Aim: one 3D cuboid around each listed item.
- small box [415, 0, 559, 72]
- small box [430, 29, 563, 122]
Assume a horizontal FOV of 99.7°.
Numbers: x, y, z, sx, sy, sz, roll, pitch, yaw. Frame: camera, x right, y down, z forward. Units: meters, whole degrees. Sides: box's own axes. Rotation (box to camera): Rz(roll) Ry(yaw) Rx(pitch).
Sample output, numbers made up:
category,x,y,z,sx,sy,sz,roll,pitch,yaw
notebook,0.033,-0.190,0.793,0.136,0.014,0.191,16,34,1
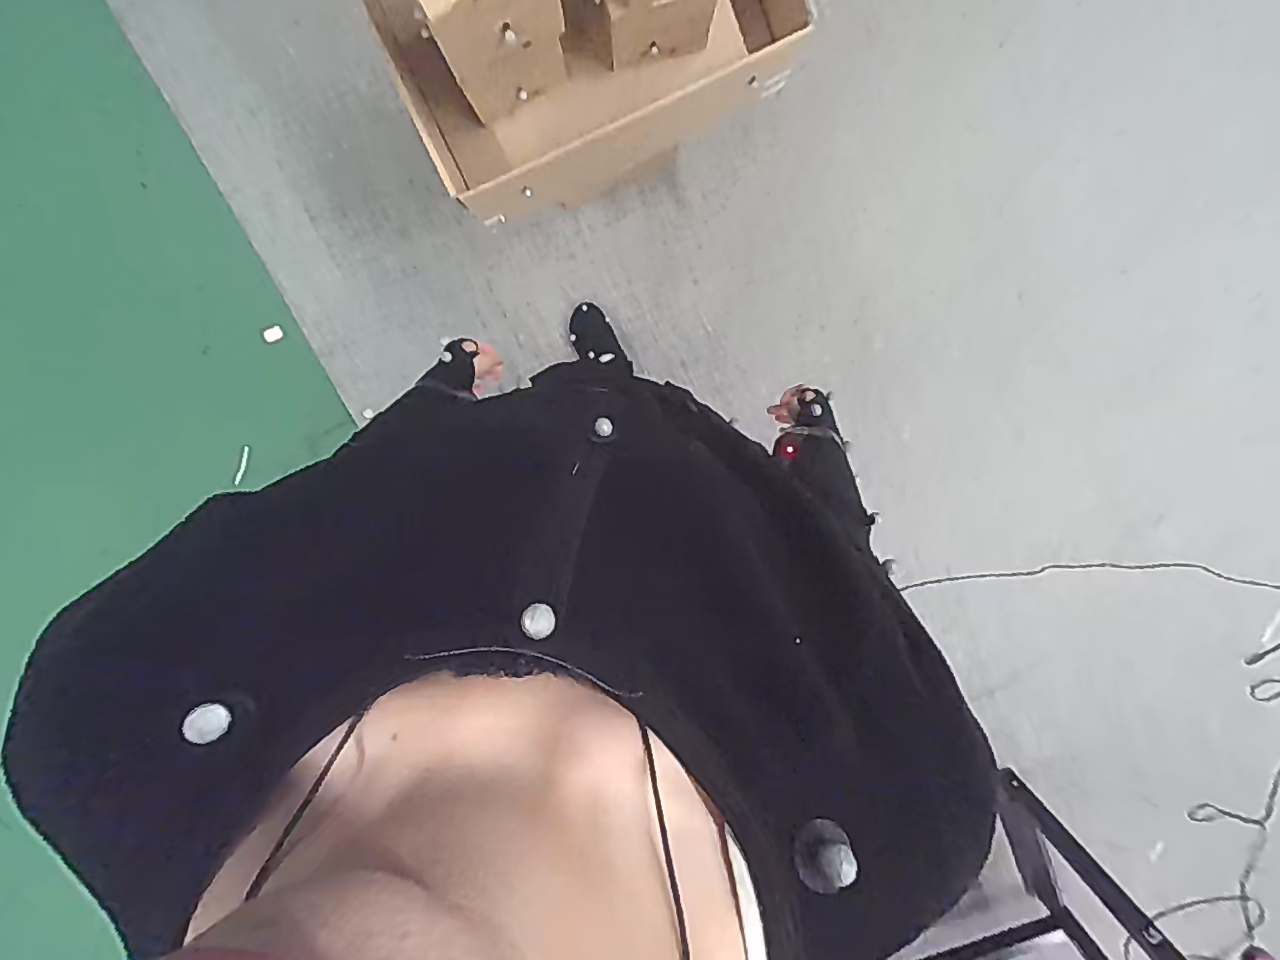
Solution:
category,x,y,z,sx,sy,sz,roll,pitch,yaw
small box,-0.214,-0.656,0.673,0.168,0.176,0.179,-27,103,4
small box,-0.234,-0.703,0.829,0.168,0.176,0.179,-27,103,5
